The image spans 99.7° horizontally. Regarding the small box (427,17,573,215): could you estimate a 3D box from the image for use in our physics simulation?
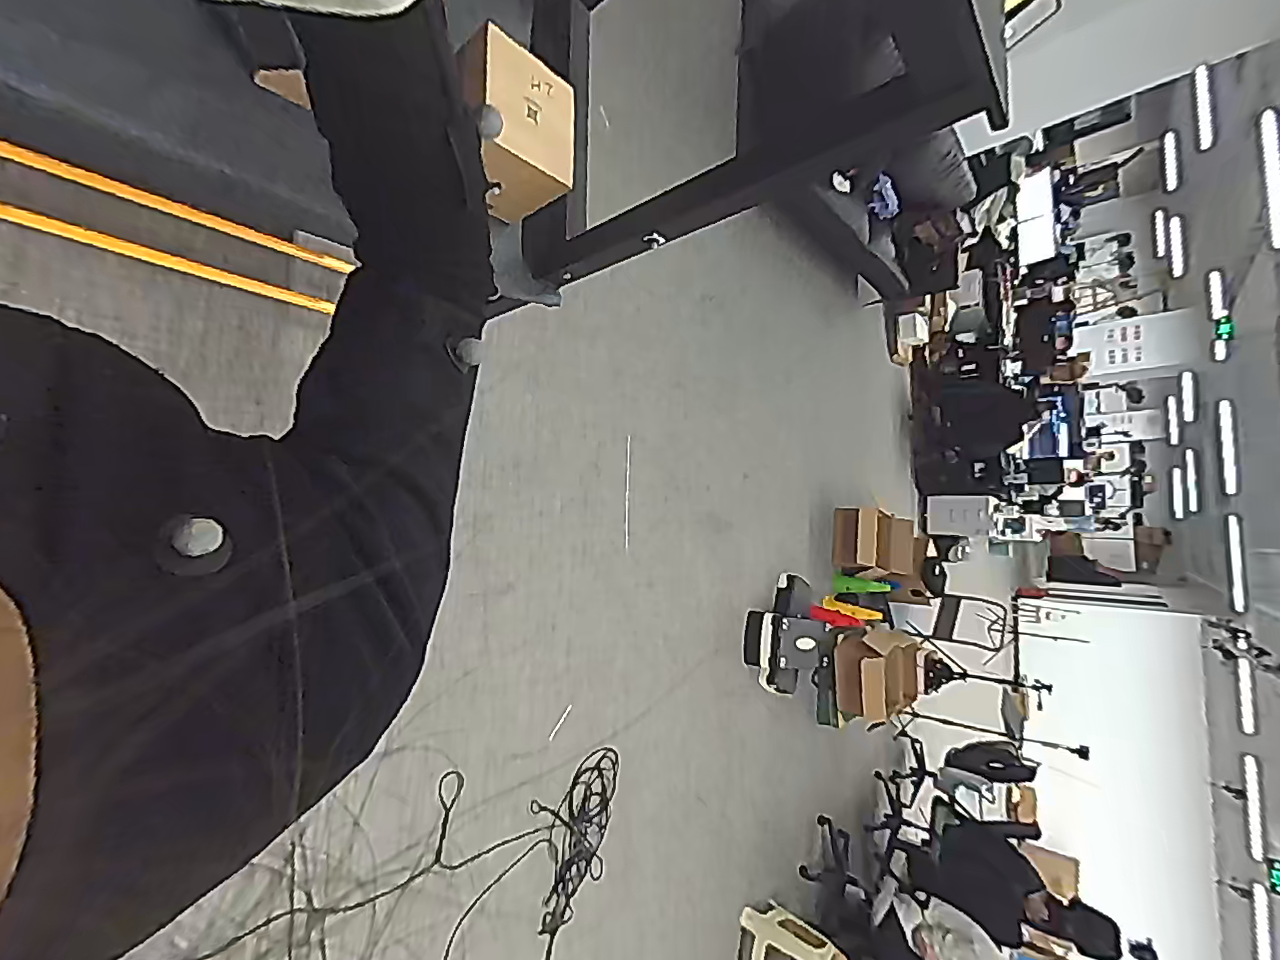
[{"bbox_3d":[-0.227,-0.565,0.873,0.168,0.176,0.179,5,84,-49],"label":"small box"}]
